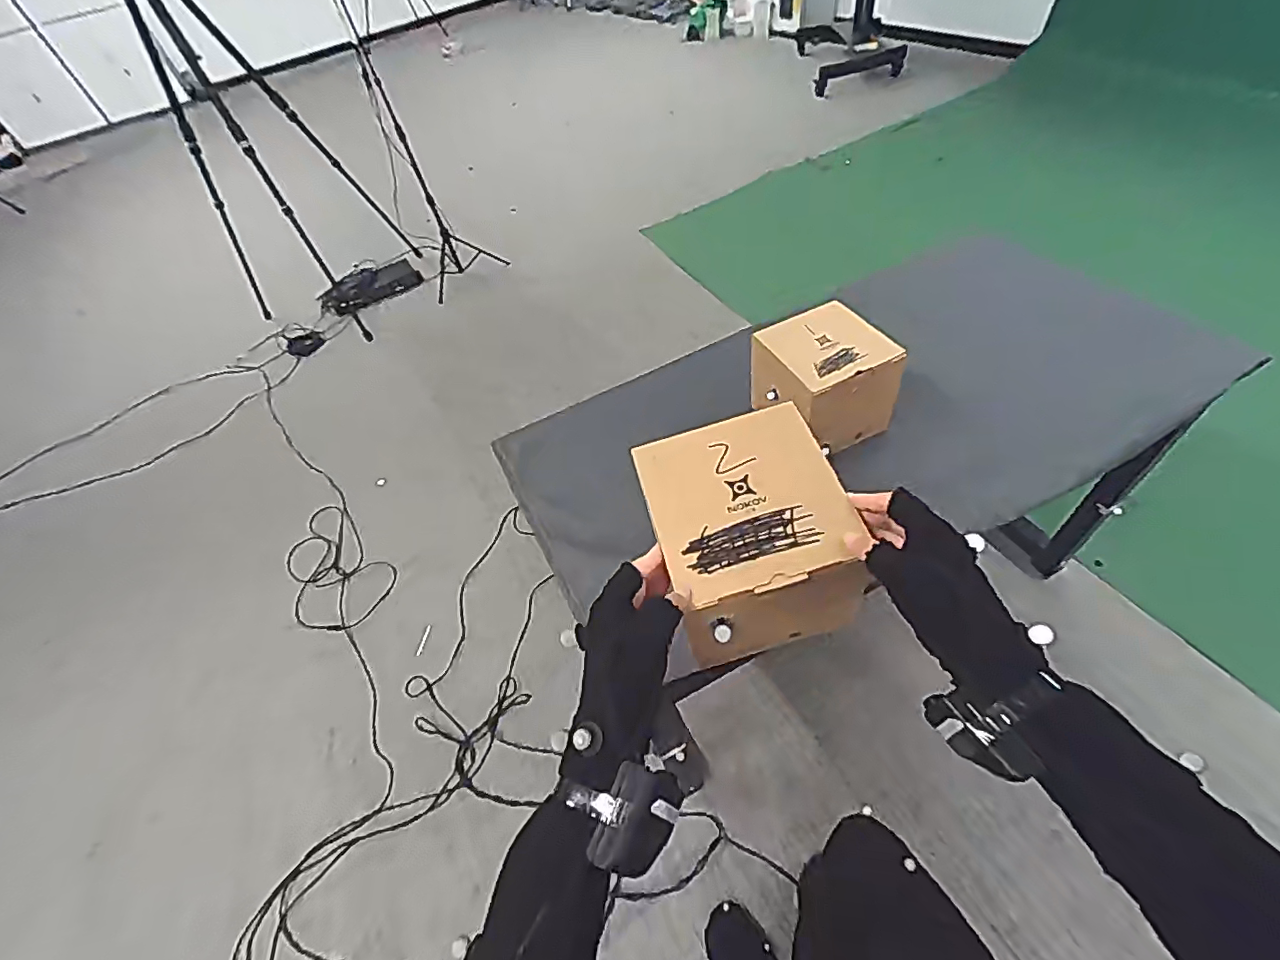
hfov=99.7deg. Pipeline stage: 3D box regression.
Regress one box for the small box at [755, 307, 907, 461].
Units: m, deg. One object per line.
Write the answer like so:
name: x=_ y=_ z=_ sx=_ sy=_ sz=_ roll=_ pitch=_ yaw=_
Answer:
small box: x=0.309 y=-0.153 z=0.909 sx=0.168 sy=0.176 sz=0.179 roll=-23 pitch=50 yaw=-8
